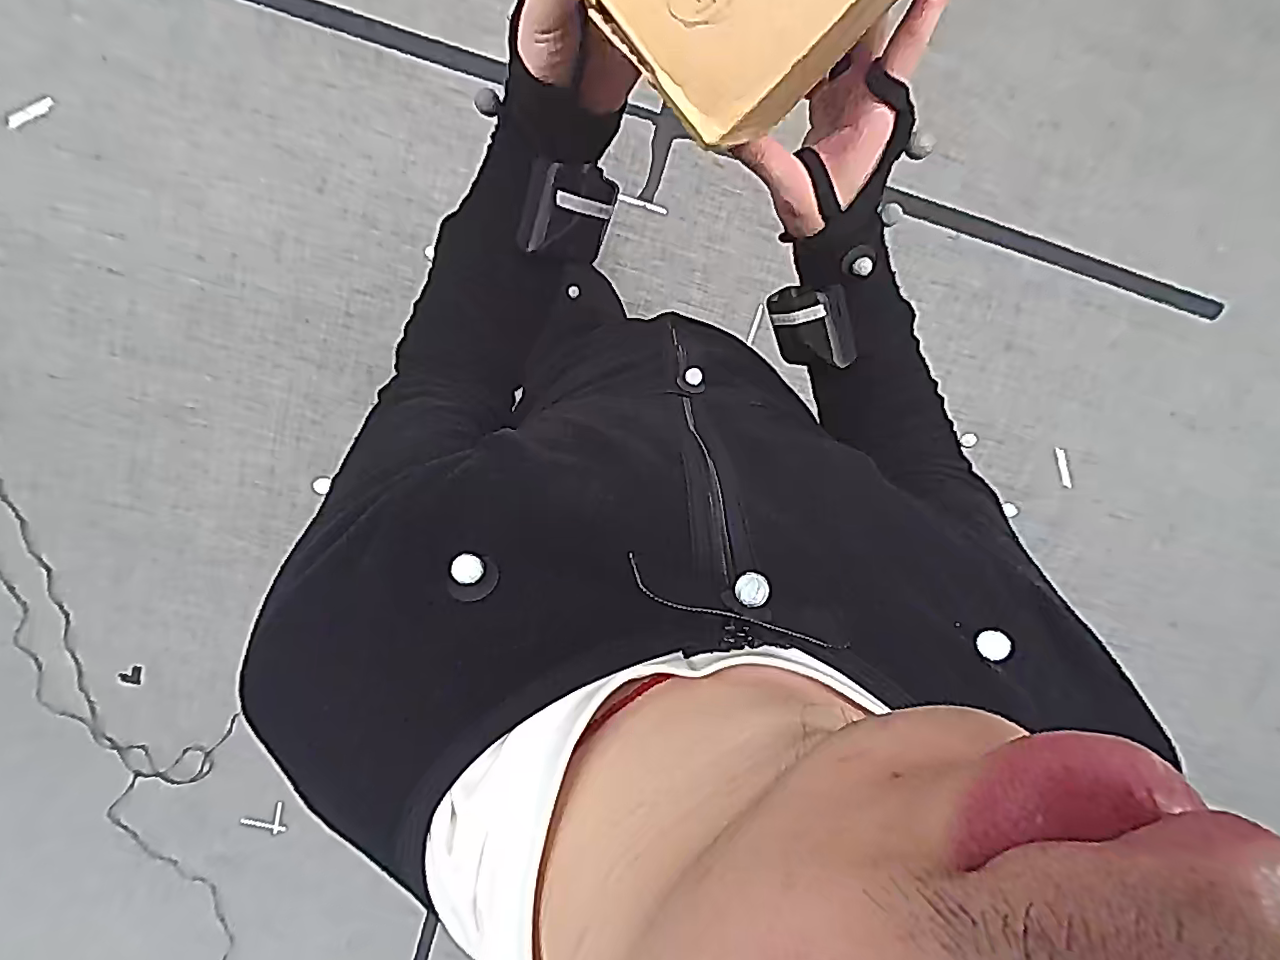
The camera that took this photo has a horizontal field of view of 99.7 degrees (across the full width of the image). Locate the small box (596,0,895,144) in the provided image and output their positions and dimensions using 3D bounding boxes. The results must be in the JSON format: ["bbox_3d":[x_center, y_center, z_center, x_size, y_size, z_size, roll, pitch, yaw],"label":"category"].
[{"bbox_3d":[0.055,-0.261,0.194,0.179,0.176,0.168,-34,108,35],"label":"small box"}]
